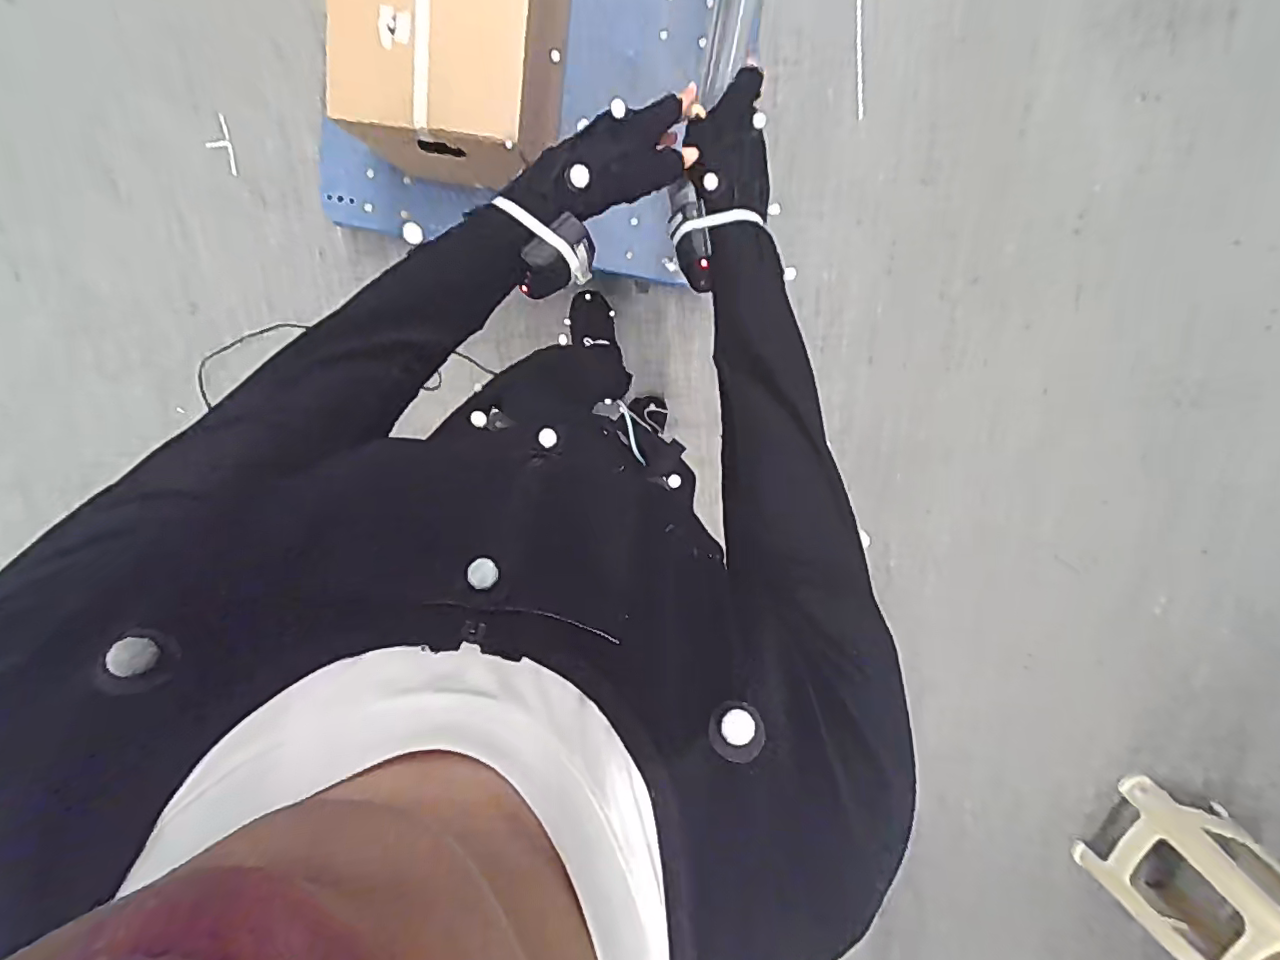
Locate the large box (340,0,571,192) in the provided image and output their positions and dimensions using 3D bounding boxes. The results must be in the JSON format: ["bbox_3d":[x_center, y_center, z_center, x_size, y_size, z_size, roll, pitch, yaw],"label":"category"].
[{"bbox_3d":[-0.306,-0.794,0.972,0.320,0.320,0.408,8,104,-1],"label":"large box"}]
